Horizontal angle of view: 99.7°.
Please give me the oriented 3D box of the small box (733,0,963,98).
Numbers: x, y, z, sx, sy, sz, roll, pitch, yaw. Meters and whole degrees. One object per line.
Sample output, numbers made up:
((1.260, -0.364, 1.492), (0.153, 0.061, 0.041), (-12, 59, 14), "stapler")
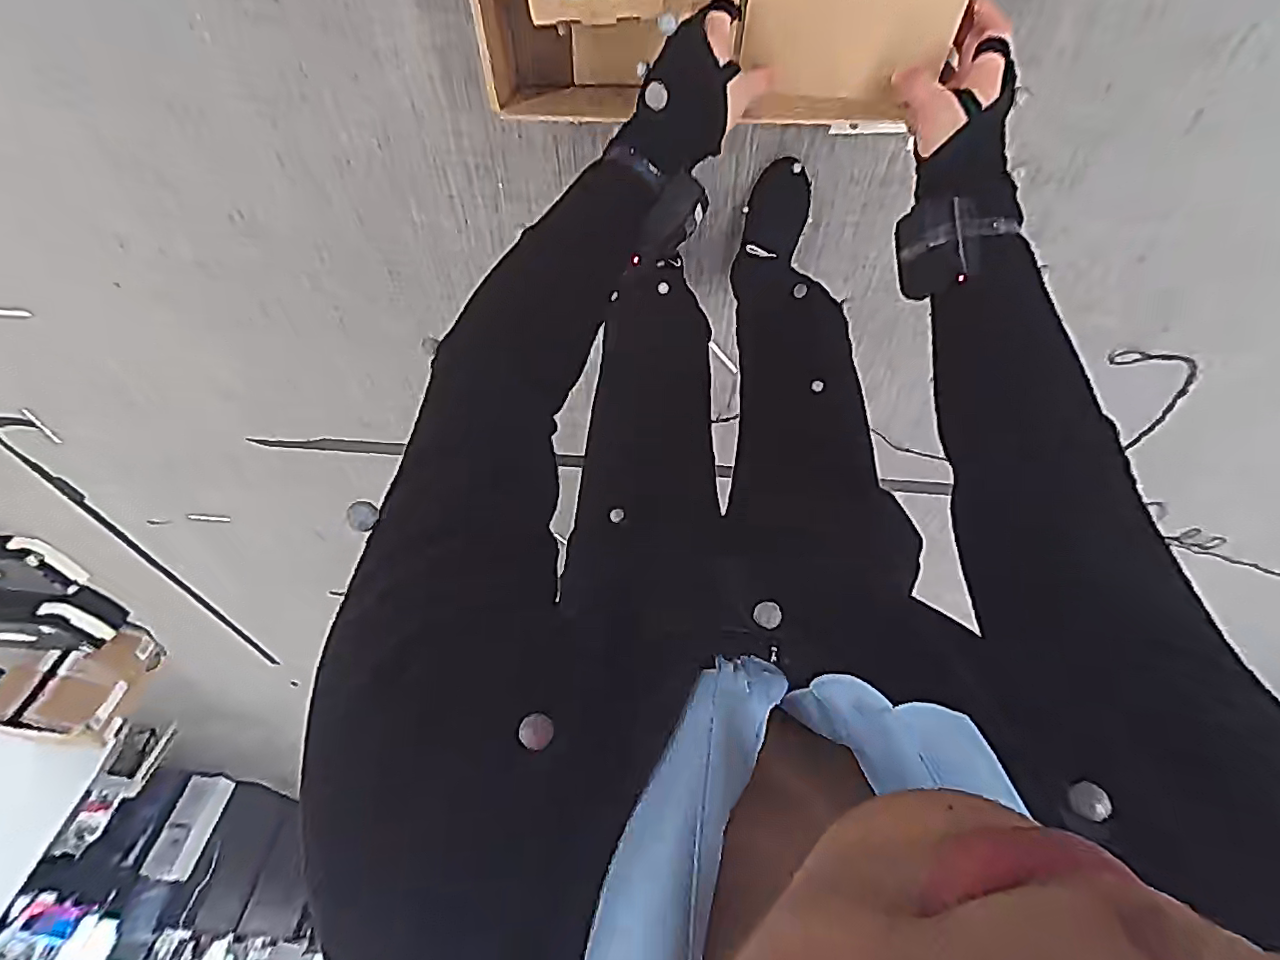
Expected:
((0.173, -0.448, 0.447), (0.168, 0.176, 0.179), (4, 139, 0), "small box")
